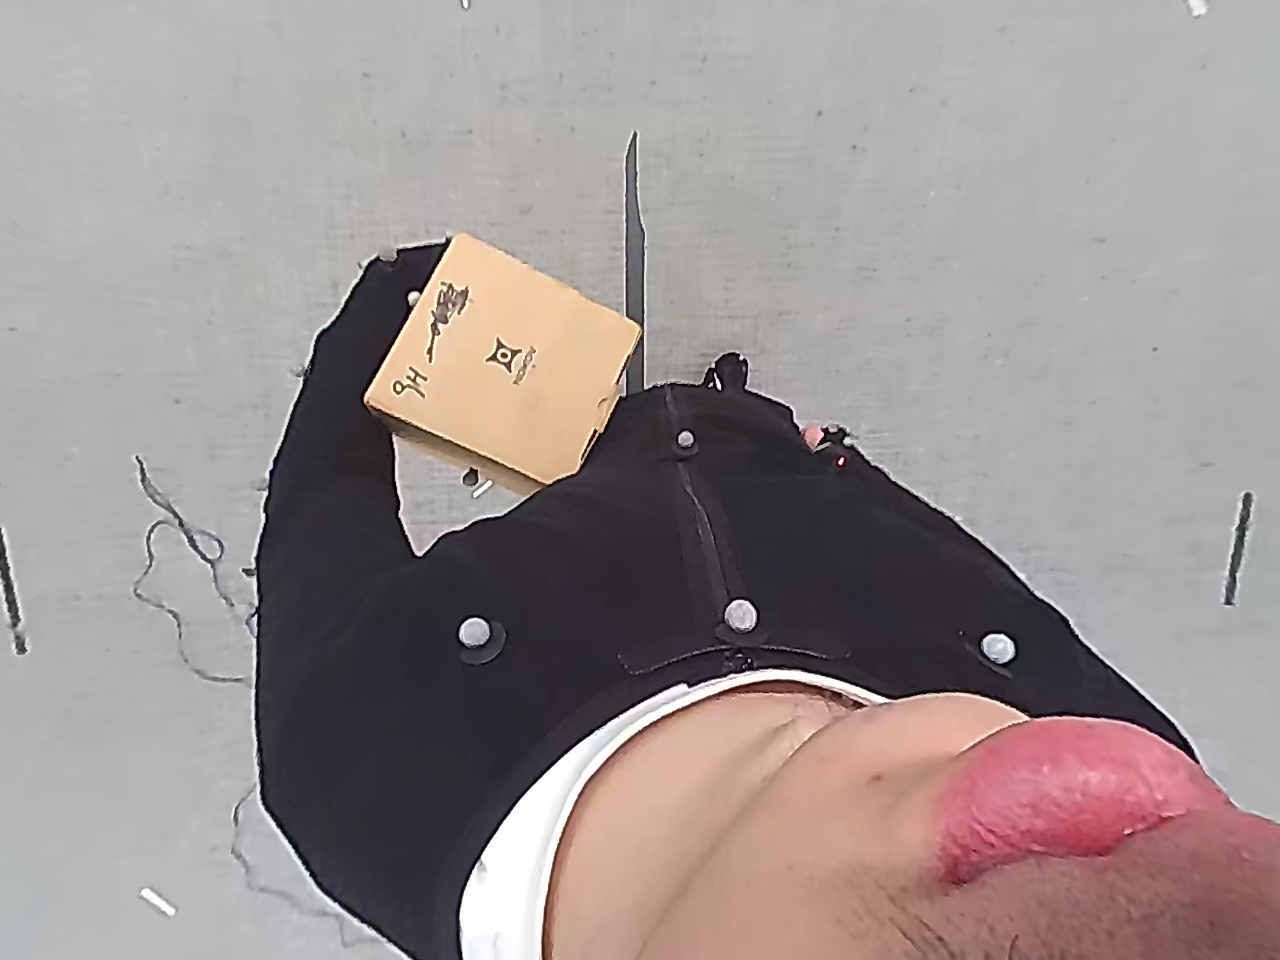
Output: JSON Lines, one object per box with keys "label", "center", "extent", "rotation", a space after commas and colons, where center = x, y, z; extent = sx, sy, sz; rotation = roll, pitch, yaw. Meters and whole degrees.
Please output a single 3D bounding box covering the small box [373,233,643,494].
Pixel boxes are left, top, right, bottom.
{"label": "small box", "center": [-0.125, -0.093, 0.531], "extent": [0.179, 0.176, 0.168], "rotation": [25, 77, -12]}
